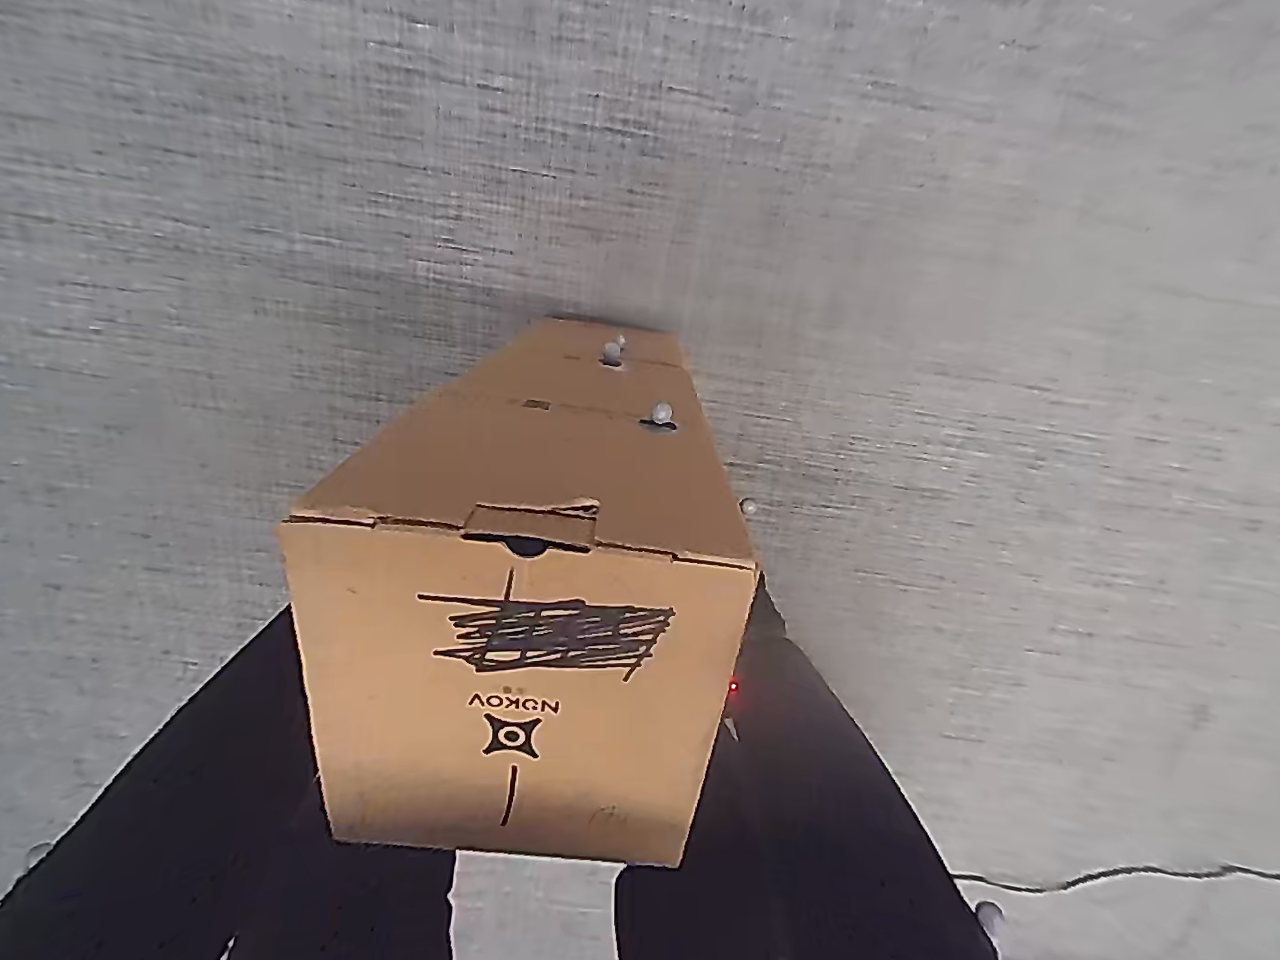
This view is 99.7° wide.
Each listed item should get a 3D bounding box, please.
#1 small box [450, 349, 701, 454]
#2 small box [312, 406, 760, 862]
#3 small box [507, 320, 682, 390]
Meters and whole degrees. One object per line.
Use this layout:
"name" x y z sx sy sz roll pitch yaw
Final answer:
"small box" -0.052 0.001 0.452 0.168 0.176 0.179 7 113 -4
"small box" -0.048 0.069 0.301 0.168 0.176 0.179 7 115 -3
"small box" -0.051 -0.067 0.600 0.168 0.176 0.179 7 115 -3
